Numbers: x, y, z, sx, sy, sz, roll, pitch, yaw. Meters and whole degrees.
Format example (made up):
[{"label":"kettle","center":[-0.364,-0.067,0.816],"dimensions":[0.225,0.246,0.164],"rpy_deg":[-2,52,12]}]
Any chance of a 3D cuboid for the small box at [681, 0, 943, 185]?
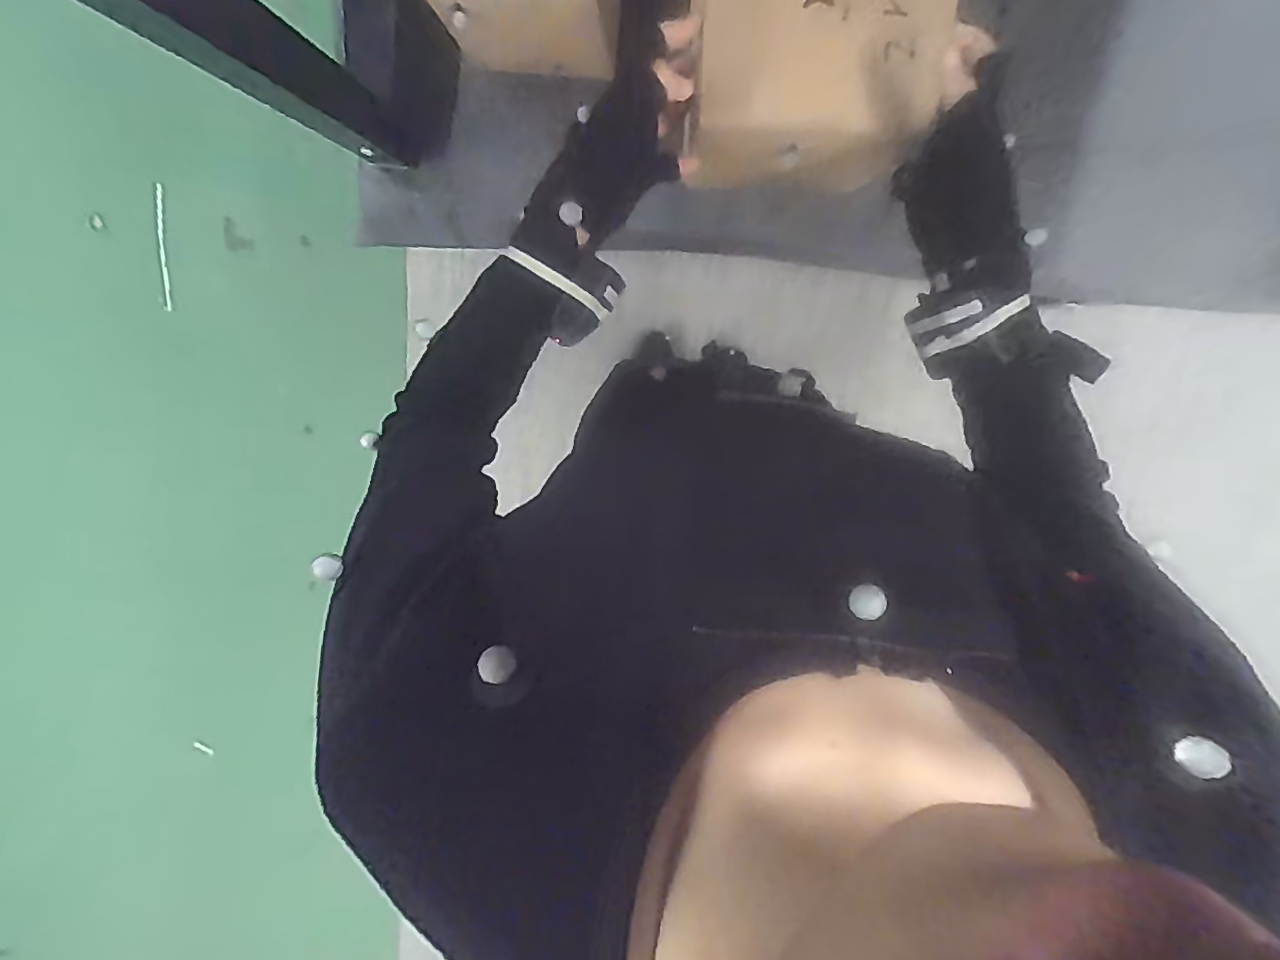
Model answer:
[{"label":"small box","center":[0.128,-0.362,0.459],"dimensions":[0.179,0.176,0.168],"rpy_deg":[2,106,0]}]
